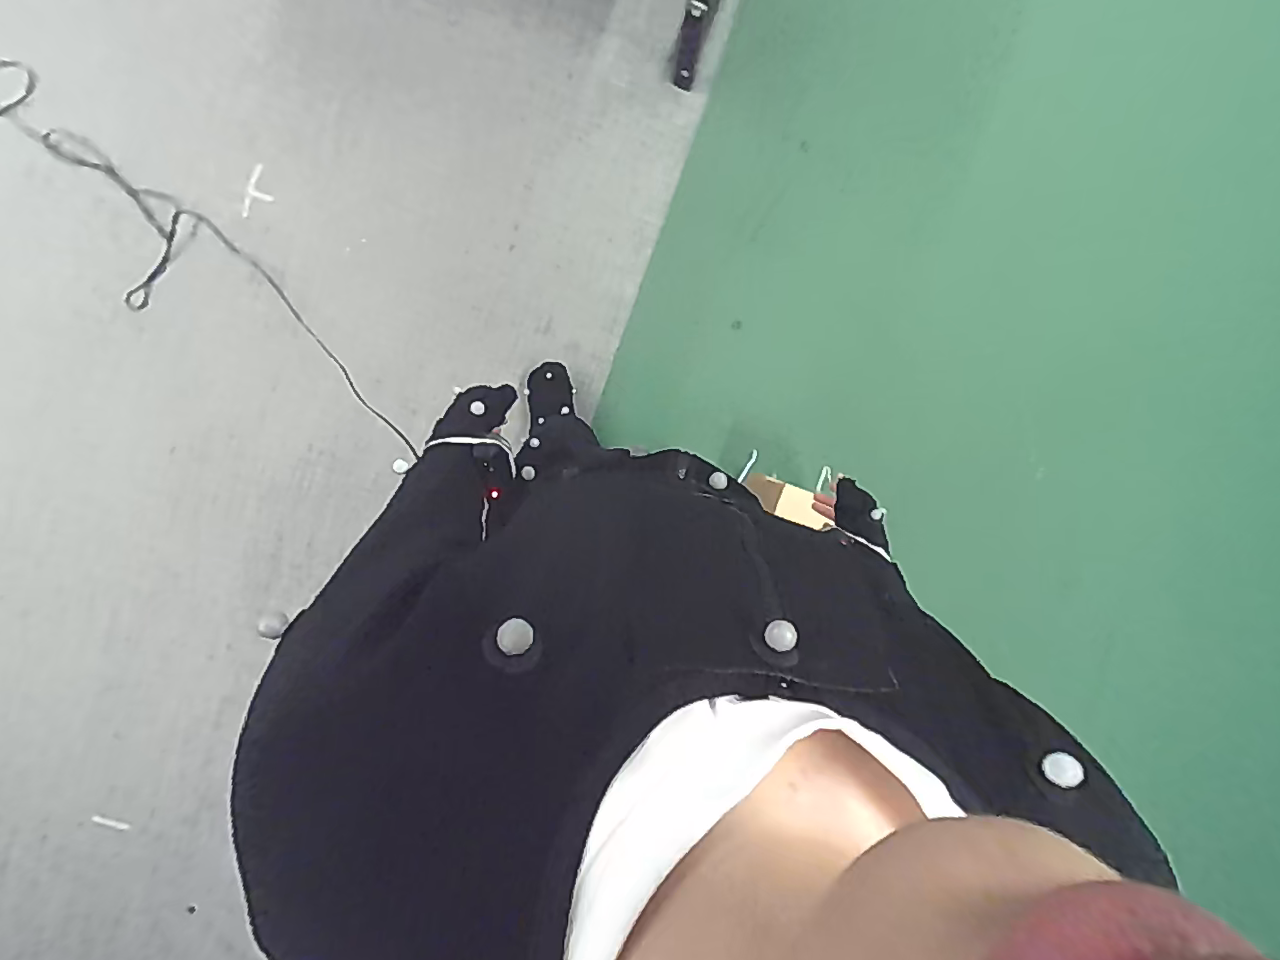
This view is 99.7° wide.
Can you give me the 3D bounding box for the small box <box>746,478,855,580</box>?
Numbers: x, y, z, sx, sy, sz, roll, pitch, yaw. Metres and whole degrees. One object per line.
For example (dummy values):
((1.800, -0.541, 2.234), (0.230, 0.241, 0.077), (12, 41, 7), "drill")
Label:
((0.361, 0.104, 1.255), (0.168, 0.176, 0.179), (20, 95, -4), "small box")
